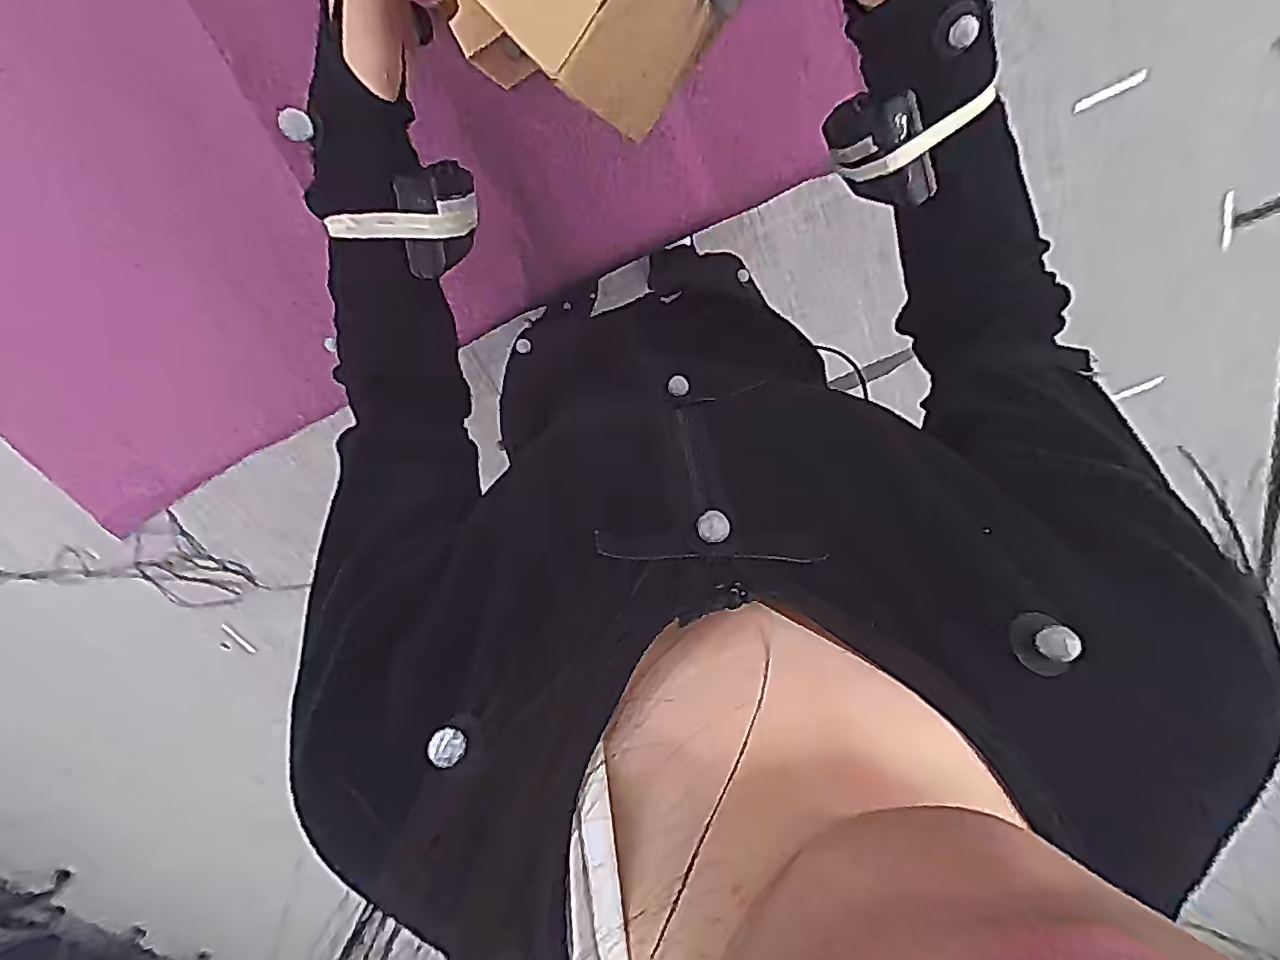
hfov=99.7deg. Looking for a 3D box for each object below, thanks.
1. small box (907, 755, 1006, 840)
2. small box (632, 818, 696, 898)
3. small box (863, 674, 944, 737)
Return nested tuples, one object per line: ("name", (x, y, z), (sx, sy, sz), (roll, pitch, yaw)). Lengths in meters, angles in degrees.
("small box", (1.004, 1.014, 1.734), (0.179, 0.176, 0.168), (17, 116, -14))
("small box", (0.078, 1.355, 1.942), (0.168, 0.176, 0.179), (22, 115, -15))
("small box", (0.979, 0.855, 2.019), (0.179, 0.176, 0.168), (20, 115, -14))
